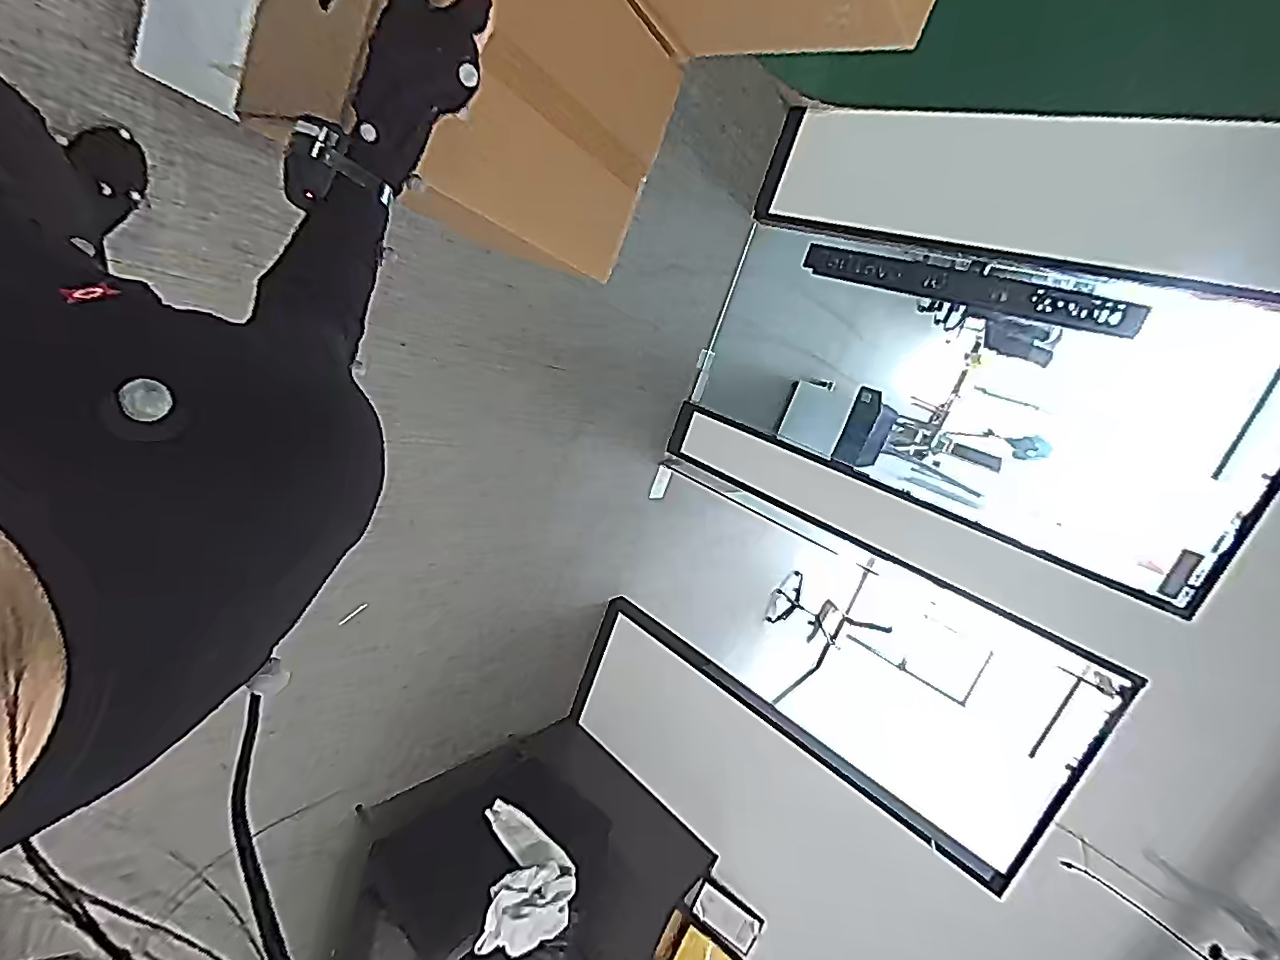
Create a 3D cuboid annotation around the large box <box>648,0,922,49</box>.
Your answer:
[{"bbox_3d":[0.110,-0.678,0.485,0.408,0.320,0.320,-2,116,-55],"label":"large box"}]
